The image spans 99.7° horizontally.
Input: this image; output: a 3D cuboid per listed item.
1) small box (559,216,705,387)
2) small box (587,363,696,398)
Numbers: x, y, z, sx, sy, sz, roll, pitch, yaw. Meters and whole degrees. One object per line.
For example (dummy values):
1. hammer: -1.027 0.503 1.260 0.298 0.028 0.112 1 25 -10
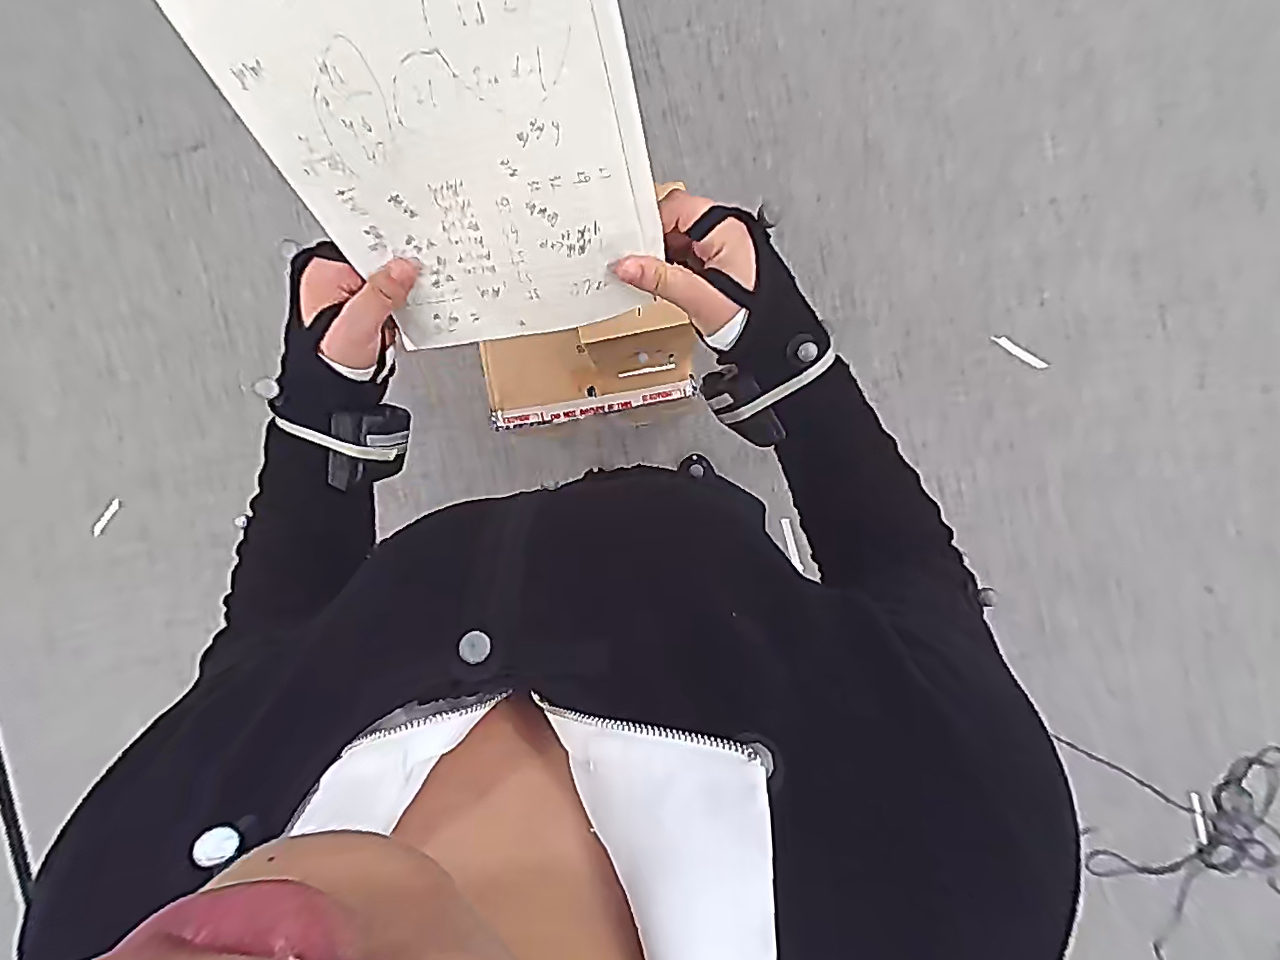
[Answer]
1. small box: -0.011 -0.240 0.768 0.168 0.176 0.179 -11 93 1
2. small box: -0.013 -0.247 0.933 0.179 0.176 0.168 -14 92 2
